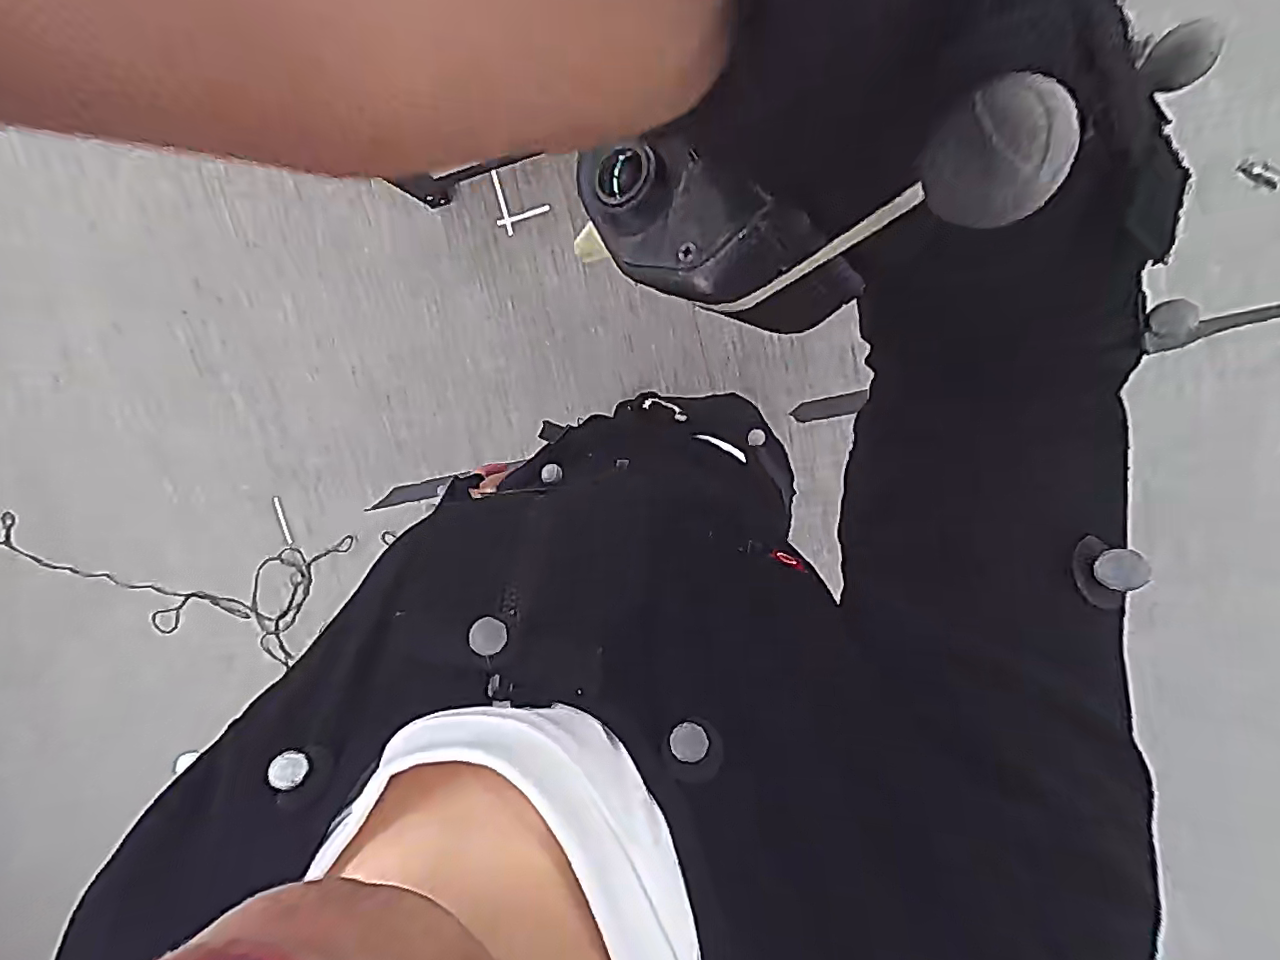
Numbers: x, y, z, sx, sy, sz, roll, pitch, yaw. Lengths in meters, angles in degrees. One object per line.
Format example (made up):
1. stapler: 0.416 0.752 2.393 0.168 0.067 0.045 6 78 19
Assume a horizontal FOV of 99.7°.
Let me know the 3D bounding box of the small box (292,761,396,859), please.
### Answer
1. small box: -0.866 0.966 1.595 0.179 0.176 0.168 -19 98 10
